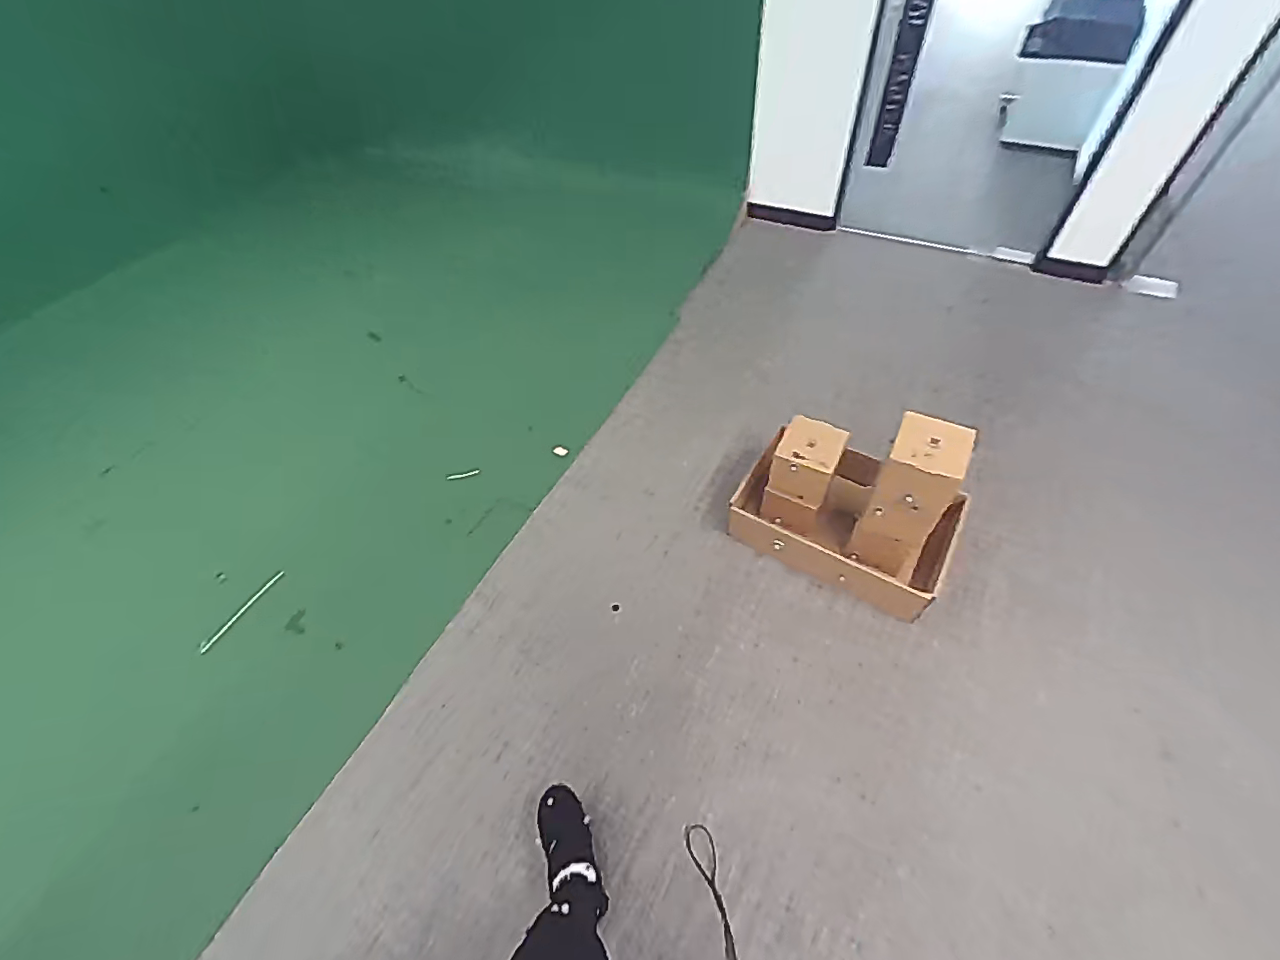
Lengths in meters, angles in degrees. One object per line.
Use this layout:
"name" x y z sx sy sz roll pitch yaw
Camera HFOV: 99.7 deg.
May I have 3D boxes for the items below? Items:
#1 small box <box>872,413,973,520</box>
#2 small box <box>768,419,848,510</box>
"small box" 0.703 -0.032 1.356 0.168 0.176 0.179 21 58 21
"small box" 0.489 -0.045 1.593 0.168 0.176 0.179 22 56 22
